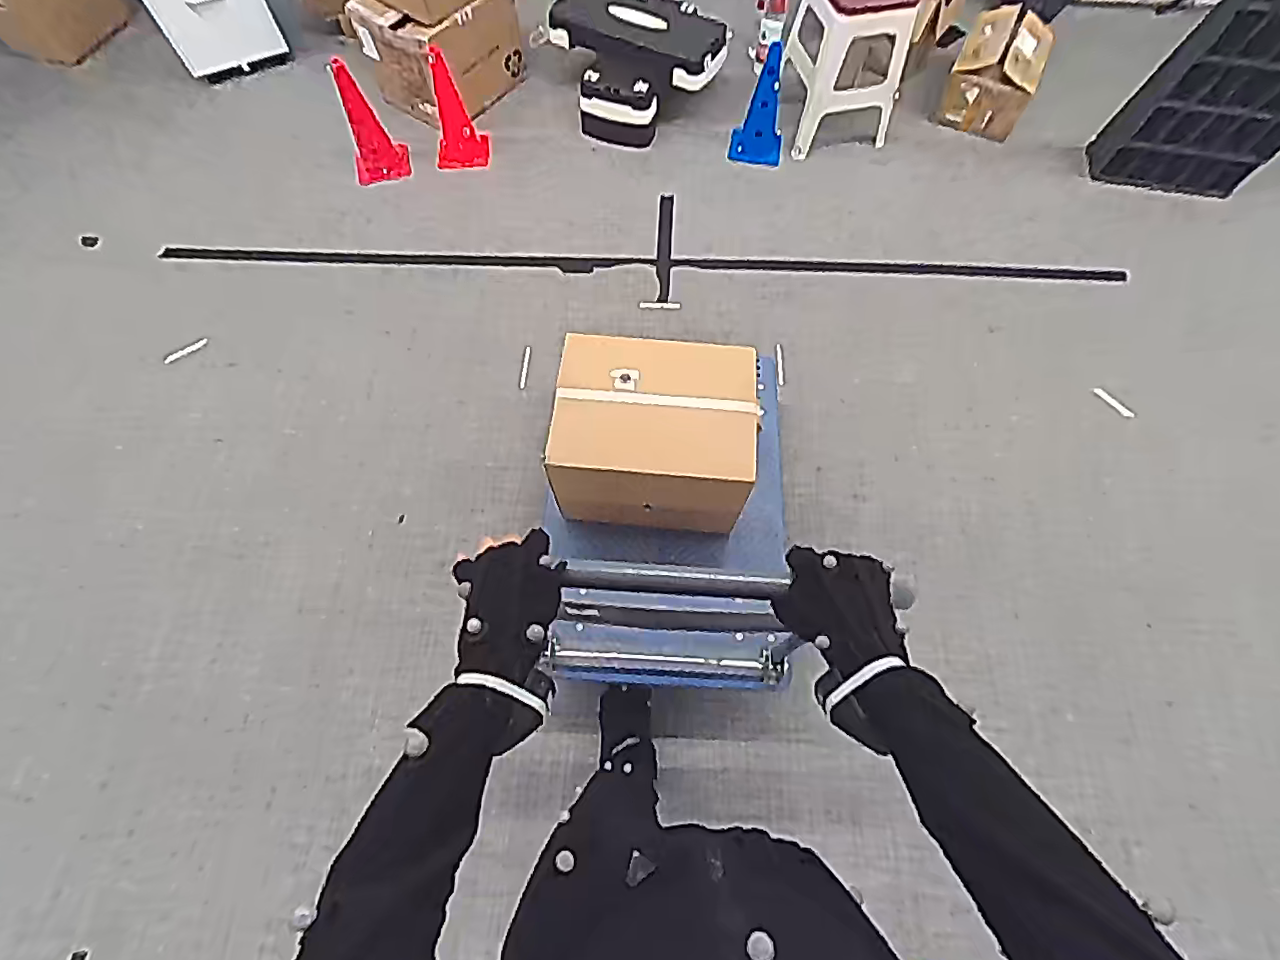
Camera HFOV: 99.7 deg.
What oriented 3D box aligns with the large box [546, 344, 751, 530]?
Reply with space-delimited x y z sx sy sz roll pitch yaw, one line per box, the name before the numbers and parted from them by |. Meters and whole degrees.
large box | 0.028 -0.083 1.233 0.408 0.320 0.320 4 66 3
